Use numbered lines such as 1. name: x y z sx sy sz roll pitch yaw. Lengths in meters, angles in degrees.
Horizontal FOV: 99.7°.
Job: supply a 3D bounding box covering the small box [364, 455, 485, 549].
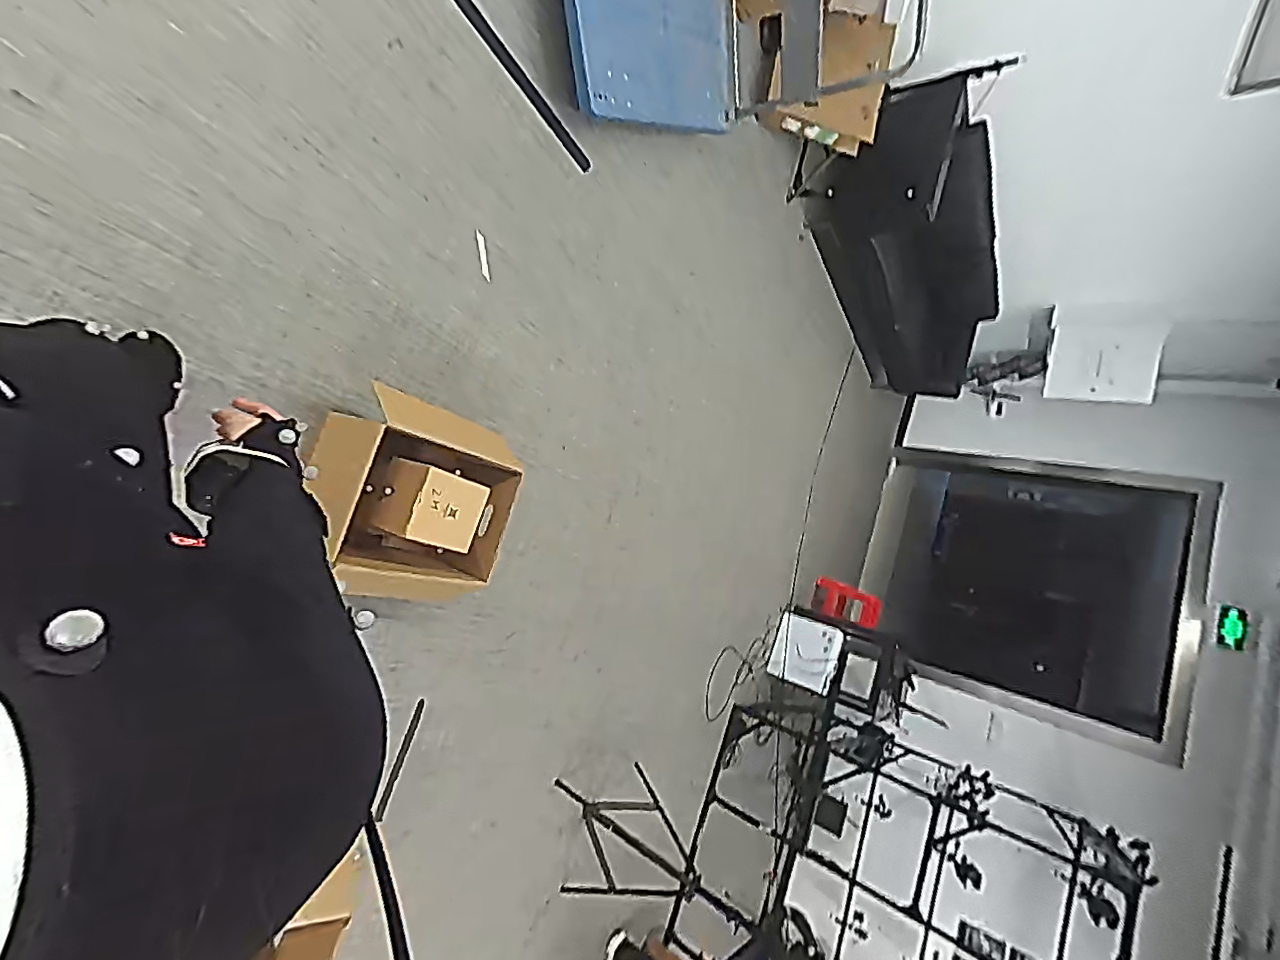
1. small box: -0.508 0.049 1.278 0.179 0.176 0.168 31 75 -52
